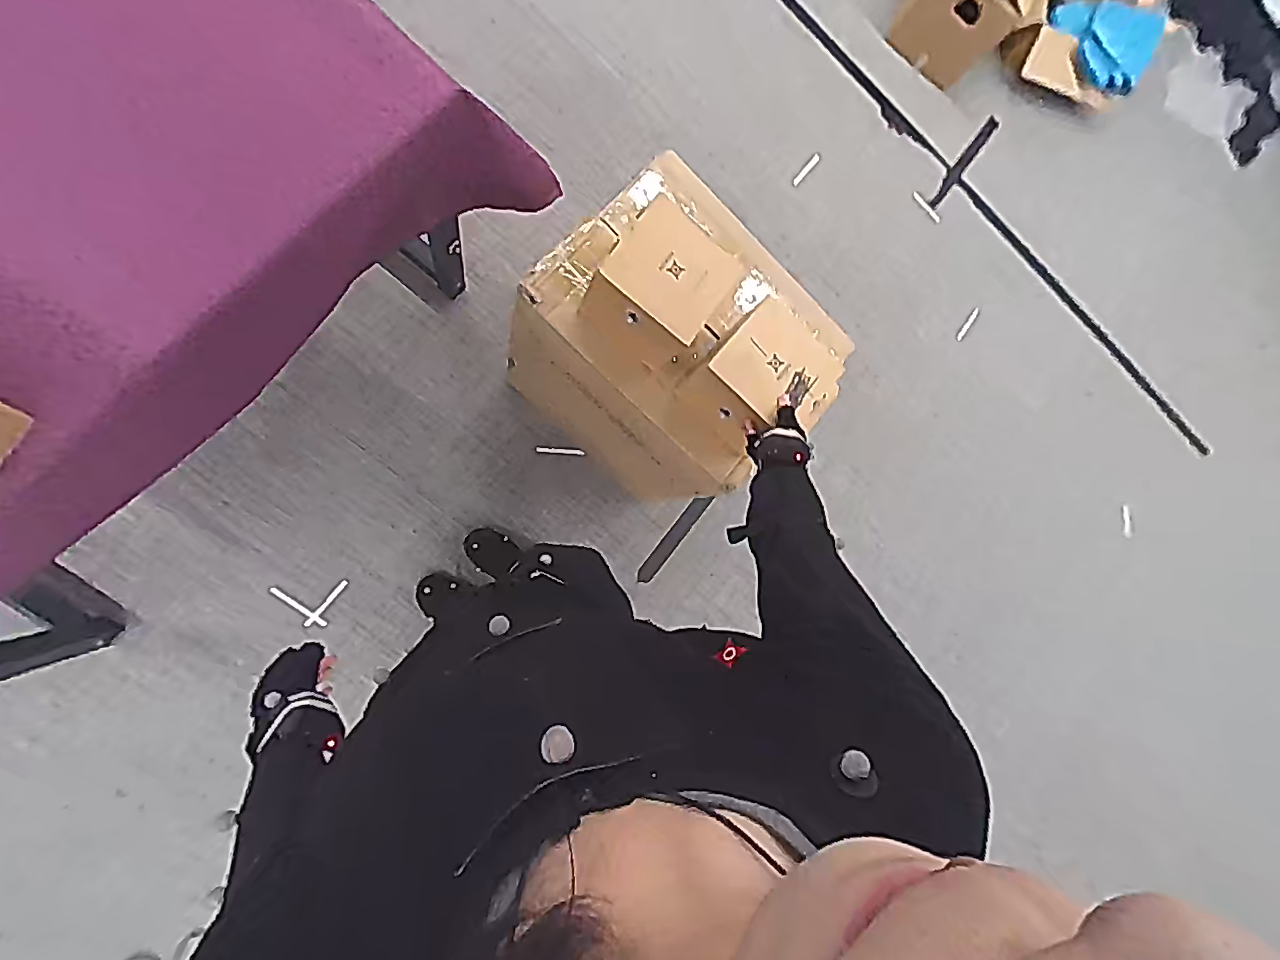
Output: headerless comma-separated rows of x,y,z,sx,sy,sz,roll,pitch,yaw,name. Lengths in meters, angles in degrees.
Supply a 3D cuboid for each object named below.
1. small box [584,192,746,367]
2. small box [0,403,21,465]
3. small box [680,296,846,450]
0.030,-0.309,0.876,0.179,0.176,0.168,38,78,-11,small box
-0.781,-0.046,0.516,0.168,0.176,0.179,30,77,-10,small box
0.197,-0.166,0.908,0.179,0.176,0.168,42,76,-6,small box
